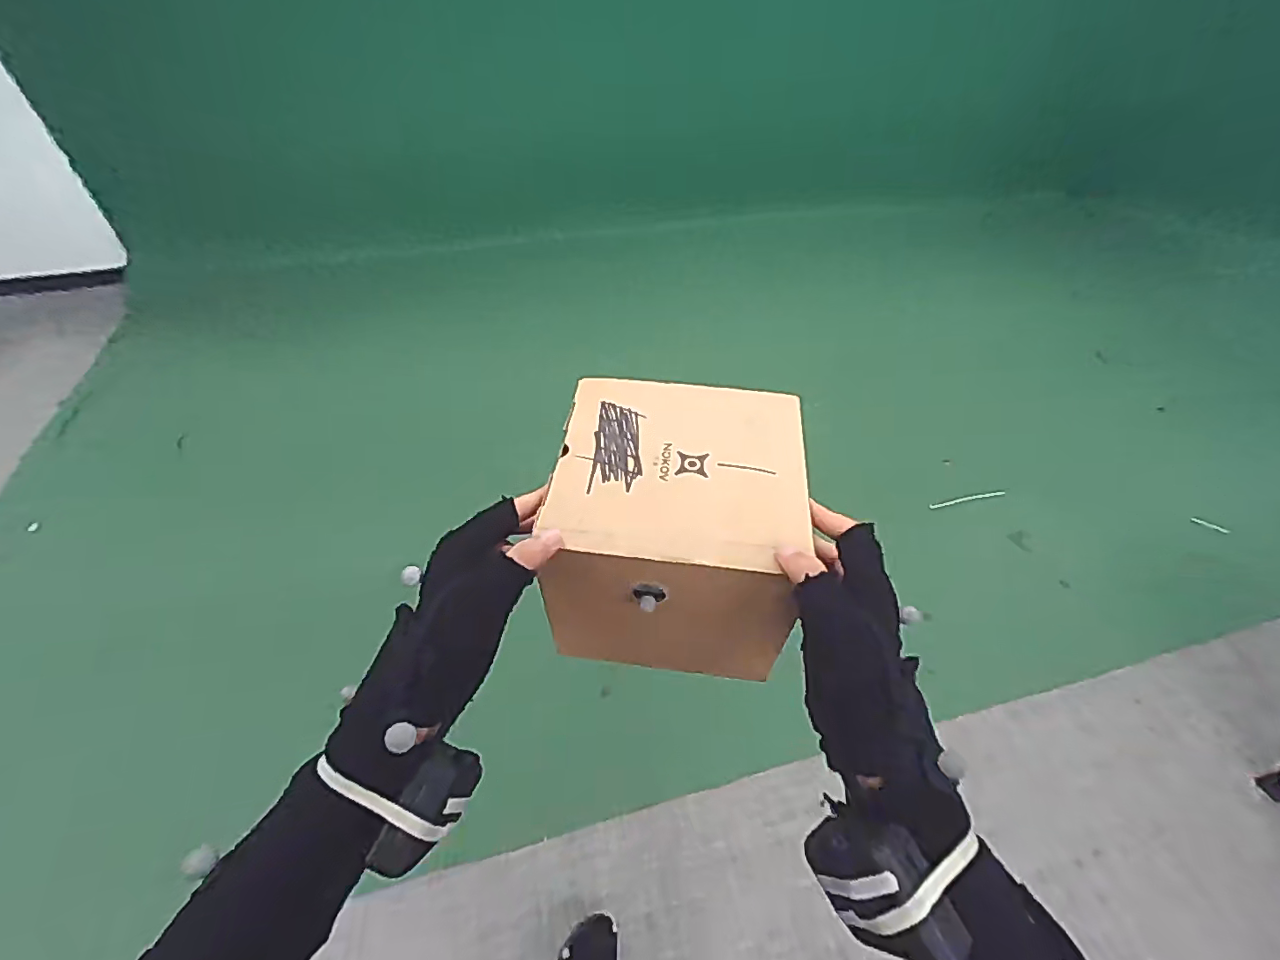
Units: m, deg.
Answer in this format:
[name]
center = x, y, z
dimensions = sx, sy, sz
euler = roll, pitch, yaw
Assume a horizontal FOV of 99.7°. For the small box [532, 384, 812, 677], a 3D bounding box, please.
[small box]
center = 0.028, 0.044, 0.440
dimensions = 0.179, 0.176, 0.168
euler = 6, 50, 4
